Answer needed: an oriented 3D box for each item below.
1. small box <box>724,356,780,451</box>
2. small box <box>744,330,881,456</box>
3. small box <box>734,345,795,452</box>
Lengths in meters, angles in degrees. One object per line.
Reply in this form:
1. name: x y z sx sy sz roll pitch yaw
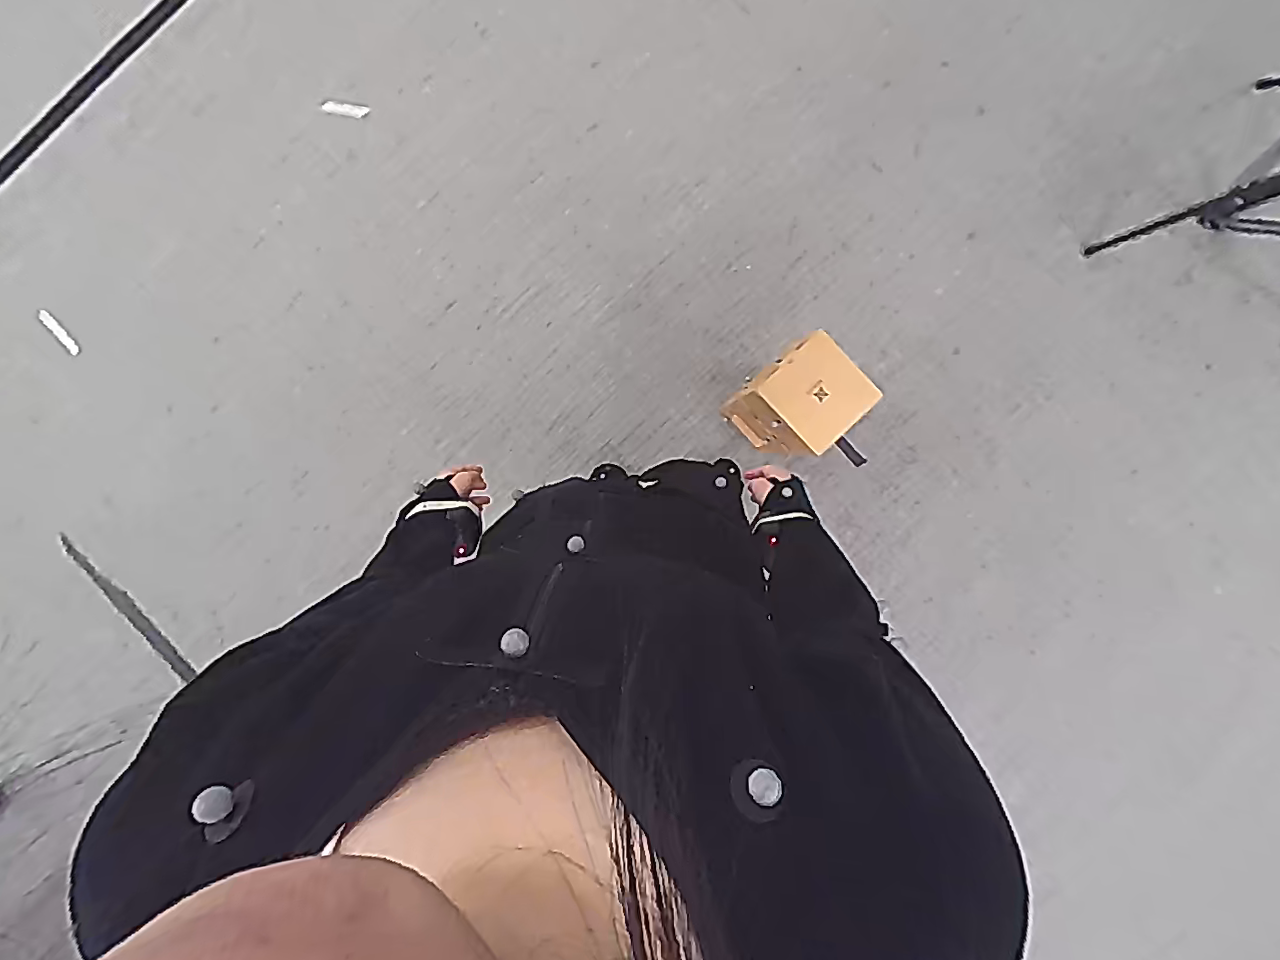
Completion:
1. small box: 0.334 -0.190 1.399 0.179 0.176 0.168 -43 91 3
2. small box: 0.332 -0.168 1.075 0.168 0.176 0.179 -44 92 4
3. small box: 0.332 -0.179 1.237 0.179 0.176 0.168 -43 92 2
